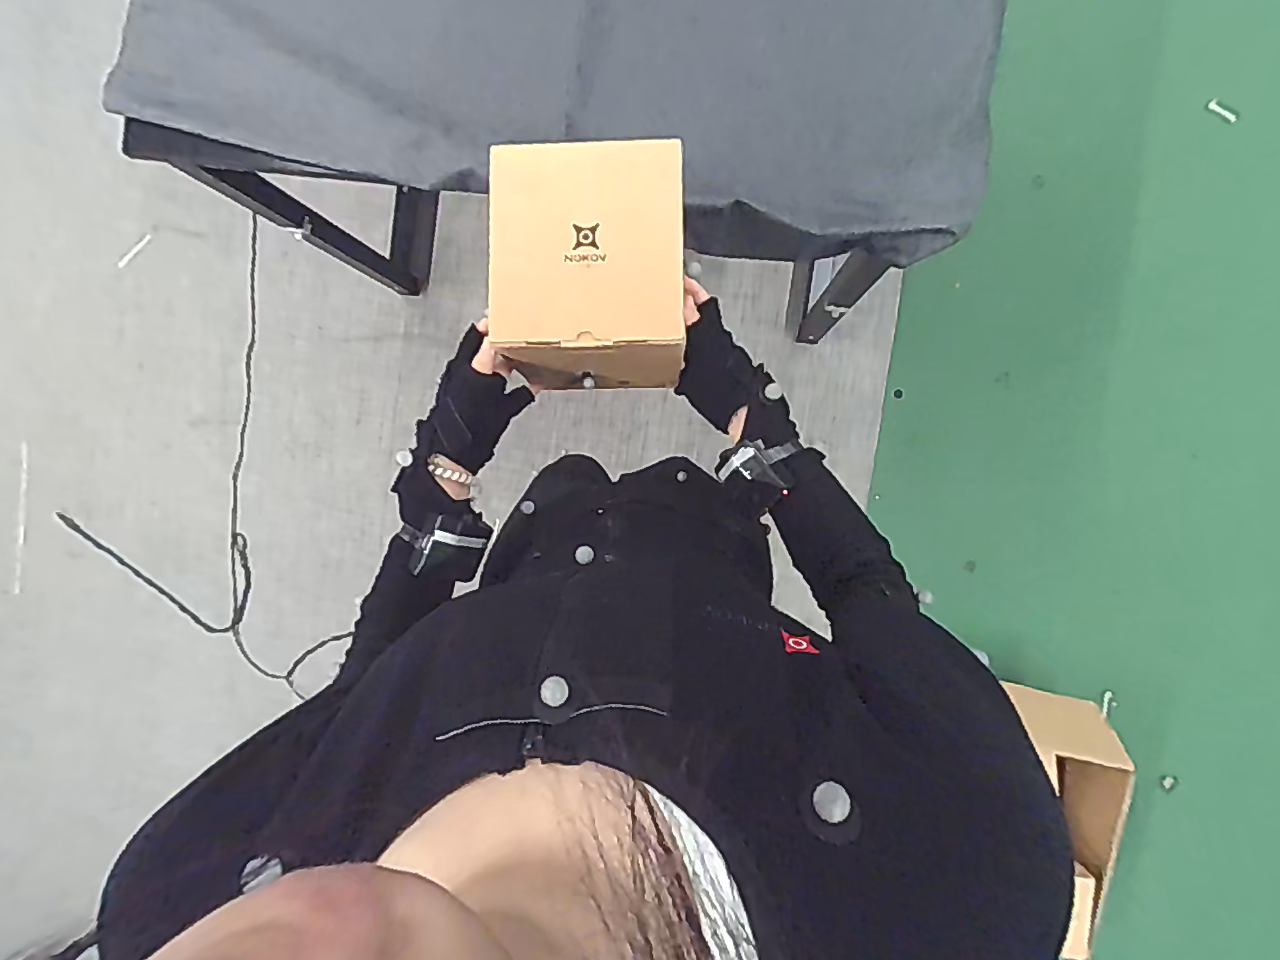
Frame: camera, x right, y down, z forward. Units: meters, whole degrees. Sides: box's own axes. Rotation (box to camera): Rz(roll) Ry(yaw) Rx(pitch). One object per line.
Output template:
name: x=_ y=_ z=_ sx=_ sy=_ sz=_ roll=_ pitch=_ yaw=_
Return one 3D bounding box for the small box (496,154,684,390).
small box: x=-0.042 y=-0.196 z=0.552 sx=0.168 sy=0.176 sz=0.179 roll=-1 pitch=88 yaw=2
